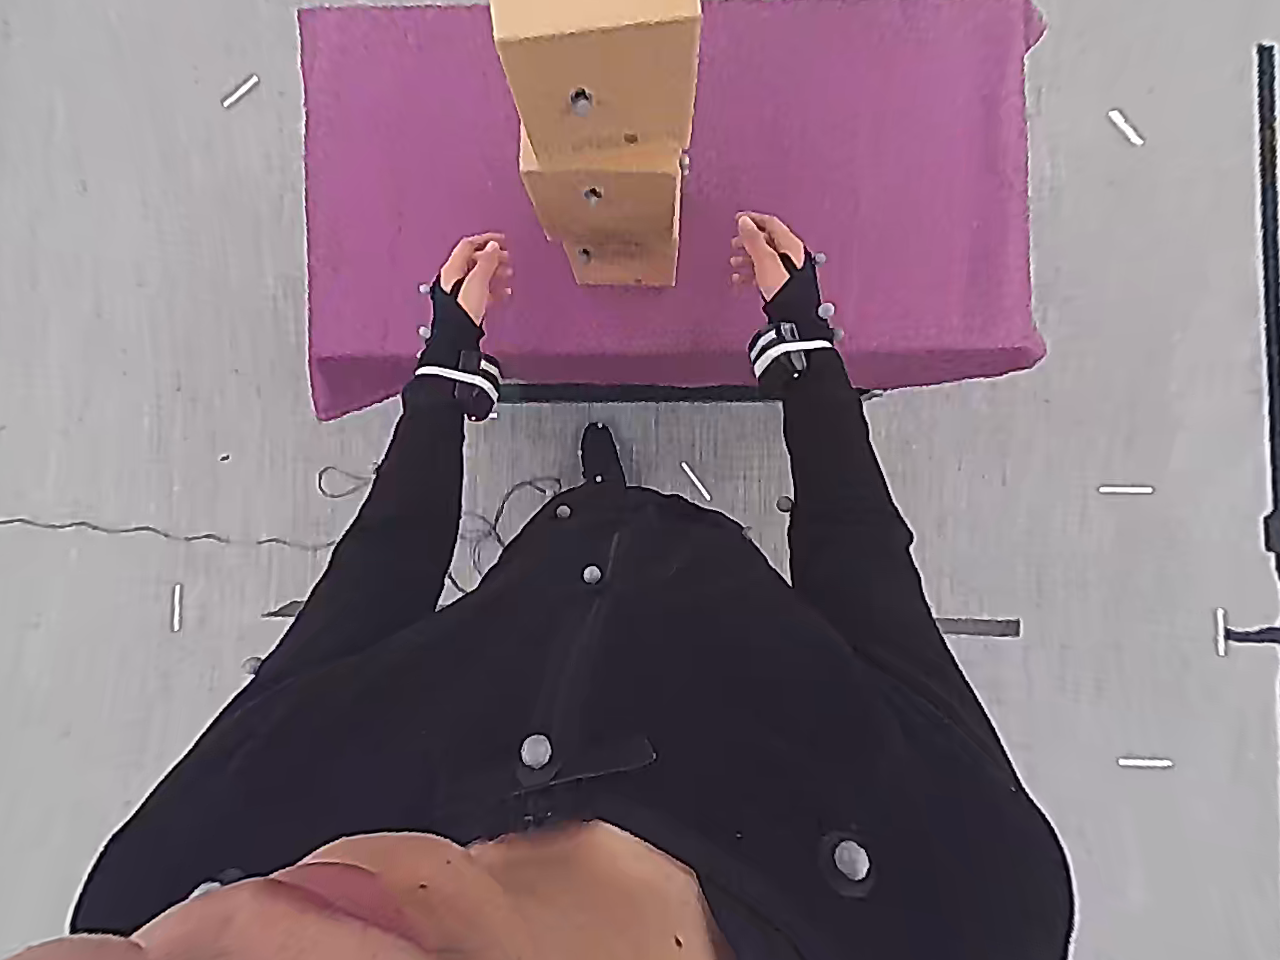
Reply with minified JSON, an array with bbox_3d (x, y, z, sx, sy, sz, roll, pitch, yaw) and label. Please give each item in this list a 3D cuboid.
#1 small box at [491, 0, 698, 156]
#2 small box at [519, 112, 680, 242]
[{"bbox_3d":[-0.039,-0.434,0.505,0.168,0.176,0.179,-6,87,1],"label":"small box"},{"bbox_3d":[-0.040,-0.412,0.667,0.179,0.176,0.168,2,89,1],"label":"small box"}]
